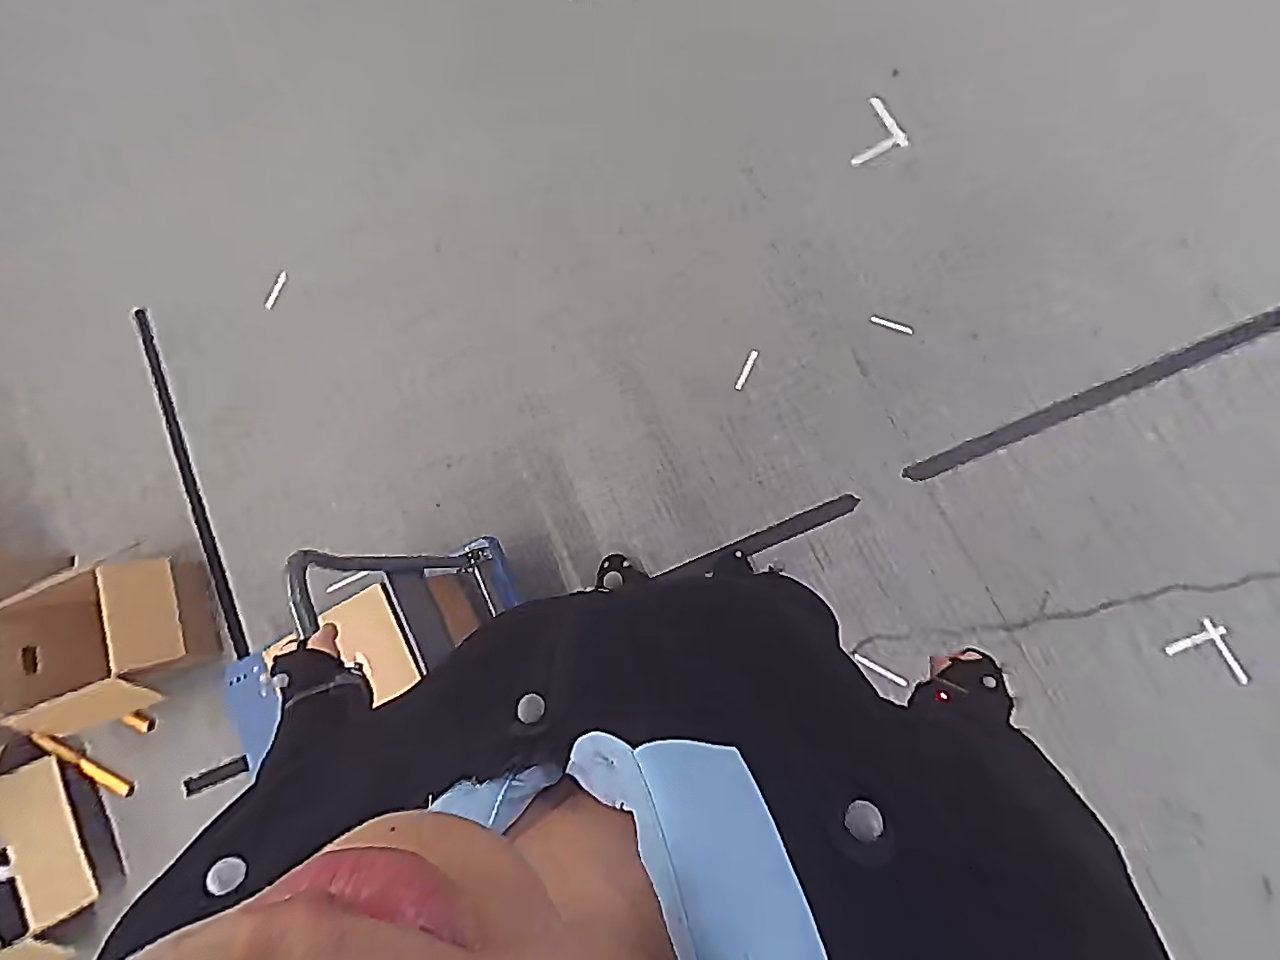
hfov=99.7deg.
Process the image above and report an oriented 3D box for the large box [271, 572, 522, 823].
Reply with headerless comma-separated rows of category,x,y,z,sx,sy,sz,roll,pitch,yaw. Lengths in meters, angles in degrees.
large box,-0.540,0.465,1.251,0.320,0.320,0.408,-31,79,5
